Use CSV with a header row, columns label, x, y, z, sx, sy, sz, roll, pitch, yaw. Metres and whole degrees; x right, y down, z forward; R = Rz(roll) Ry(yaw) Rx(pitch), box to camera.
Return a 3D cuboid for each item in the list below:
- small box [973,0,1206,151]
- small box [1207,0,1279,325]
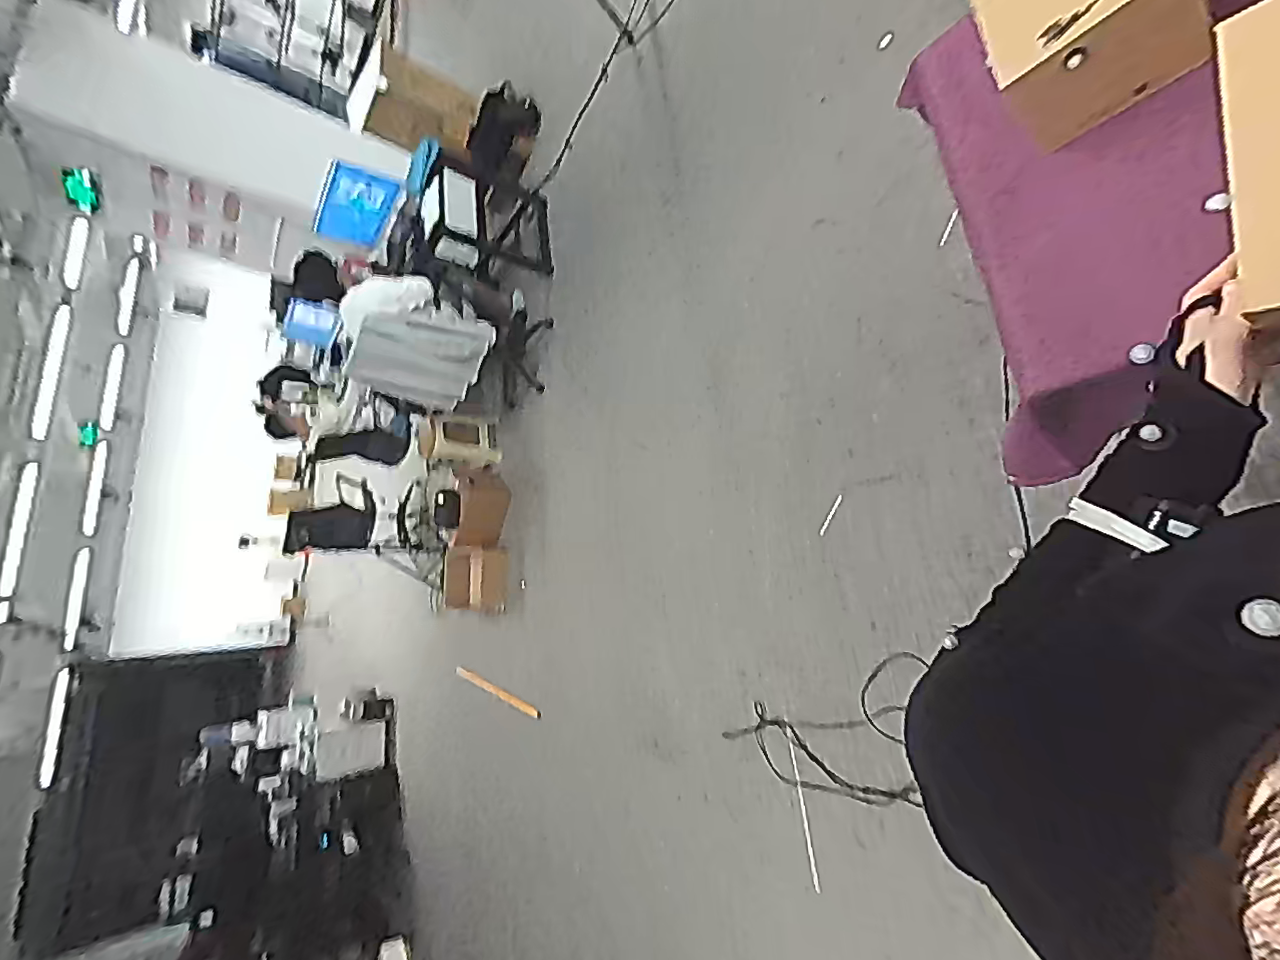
label,x,y,z,sx,sy,sz,roll,pitch,yaw
small box,0.526,-0.544,0.642,0.168,0.176,0.179,-22,67,48
small box,0.449,-0.189,0.293,0.179,0.176,0.168,-2,94,52
